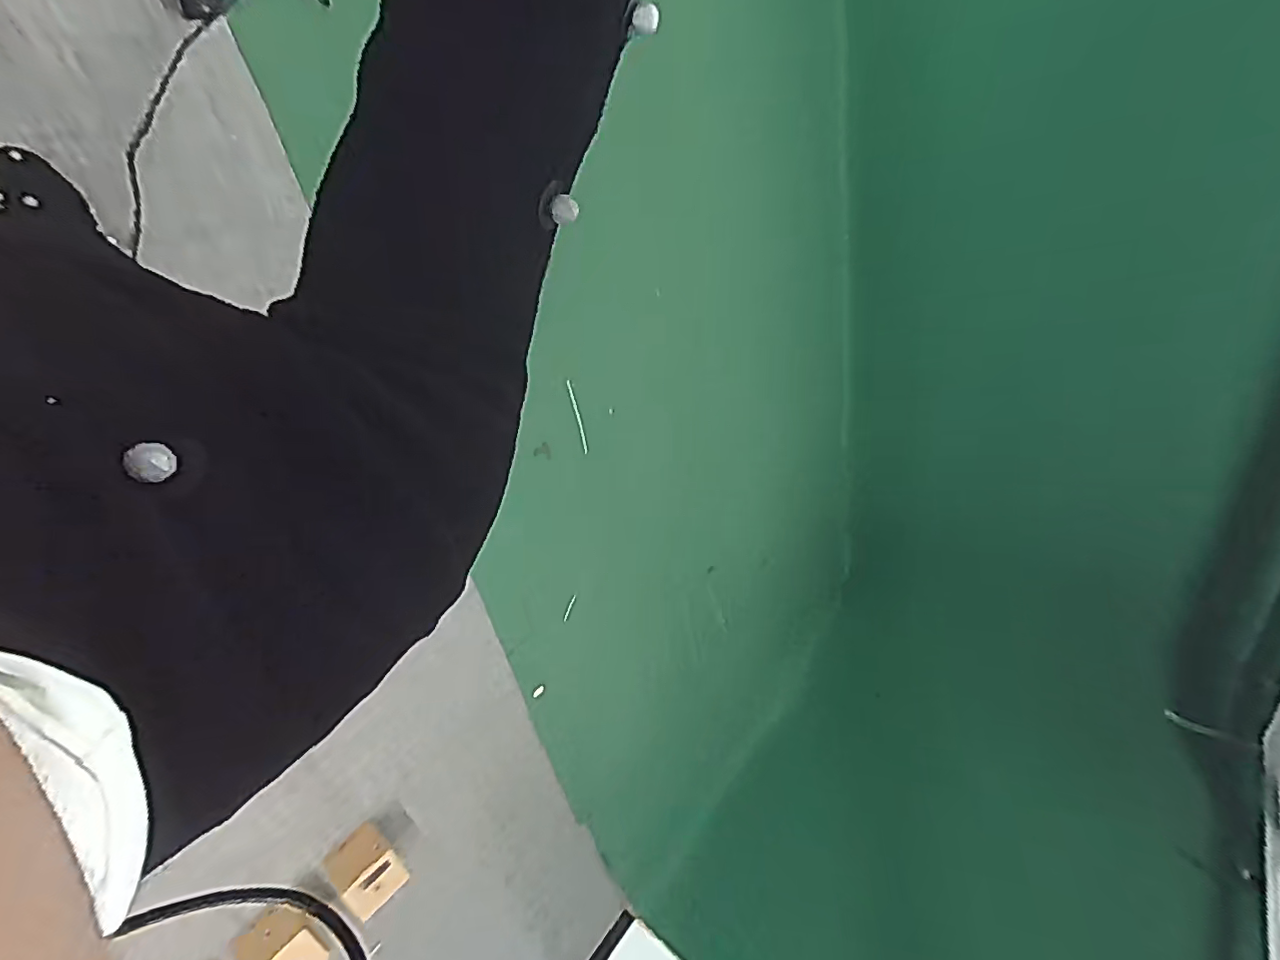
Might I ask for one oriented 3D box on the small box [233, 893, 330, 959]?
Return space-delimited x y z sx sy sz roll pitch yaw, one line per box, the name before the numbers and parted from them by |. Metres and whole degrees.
small box | -1.072 1.391 1.614 0.168 0.176 0.179 -35 126 -36
